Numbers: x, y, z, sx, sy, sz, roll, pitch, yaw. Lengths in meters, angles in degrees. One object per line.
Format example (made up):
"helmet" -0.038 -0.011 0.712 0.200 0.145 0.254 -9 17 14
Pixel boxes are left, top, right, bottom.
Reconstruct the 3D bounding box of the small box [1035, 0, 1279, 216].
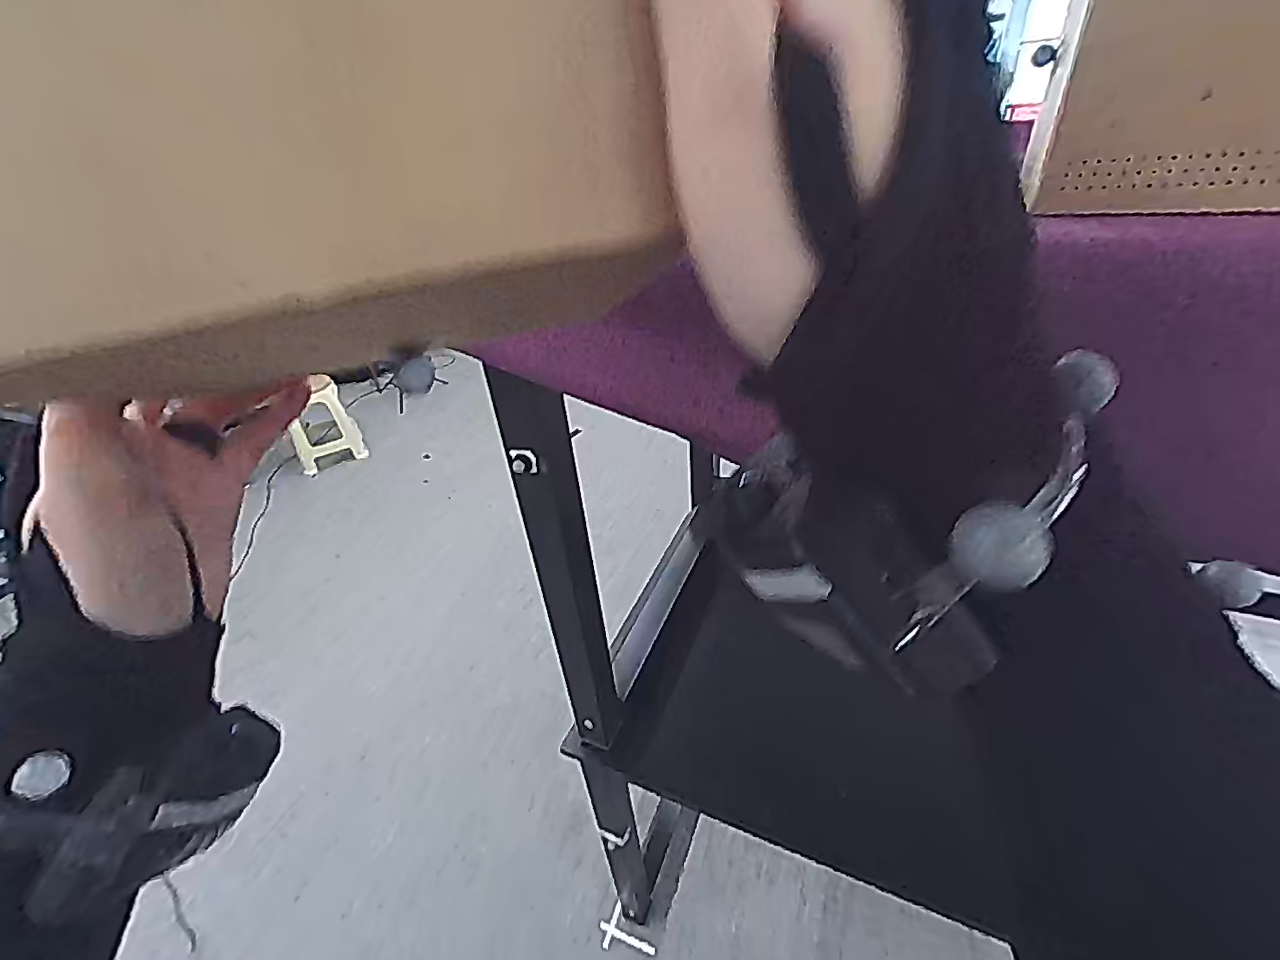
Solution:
"small box" 0.337 -0.246 0.292 0.179 0.176 0.168 13 38 26
